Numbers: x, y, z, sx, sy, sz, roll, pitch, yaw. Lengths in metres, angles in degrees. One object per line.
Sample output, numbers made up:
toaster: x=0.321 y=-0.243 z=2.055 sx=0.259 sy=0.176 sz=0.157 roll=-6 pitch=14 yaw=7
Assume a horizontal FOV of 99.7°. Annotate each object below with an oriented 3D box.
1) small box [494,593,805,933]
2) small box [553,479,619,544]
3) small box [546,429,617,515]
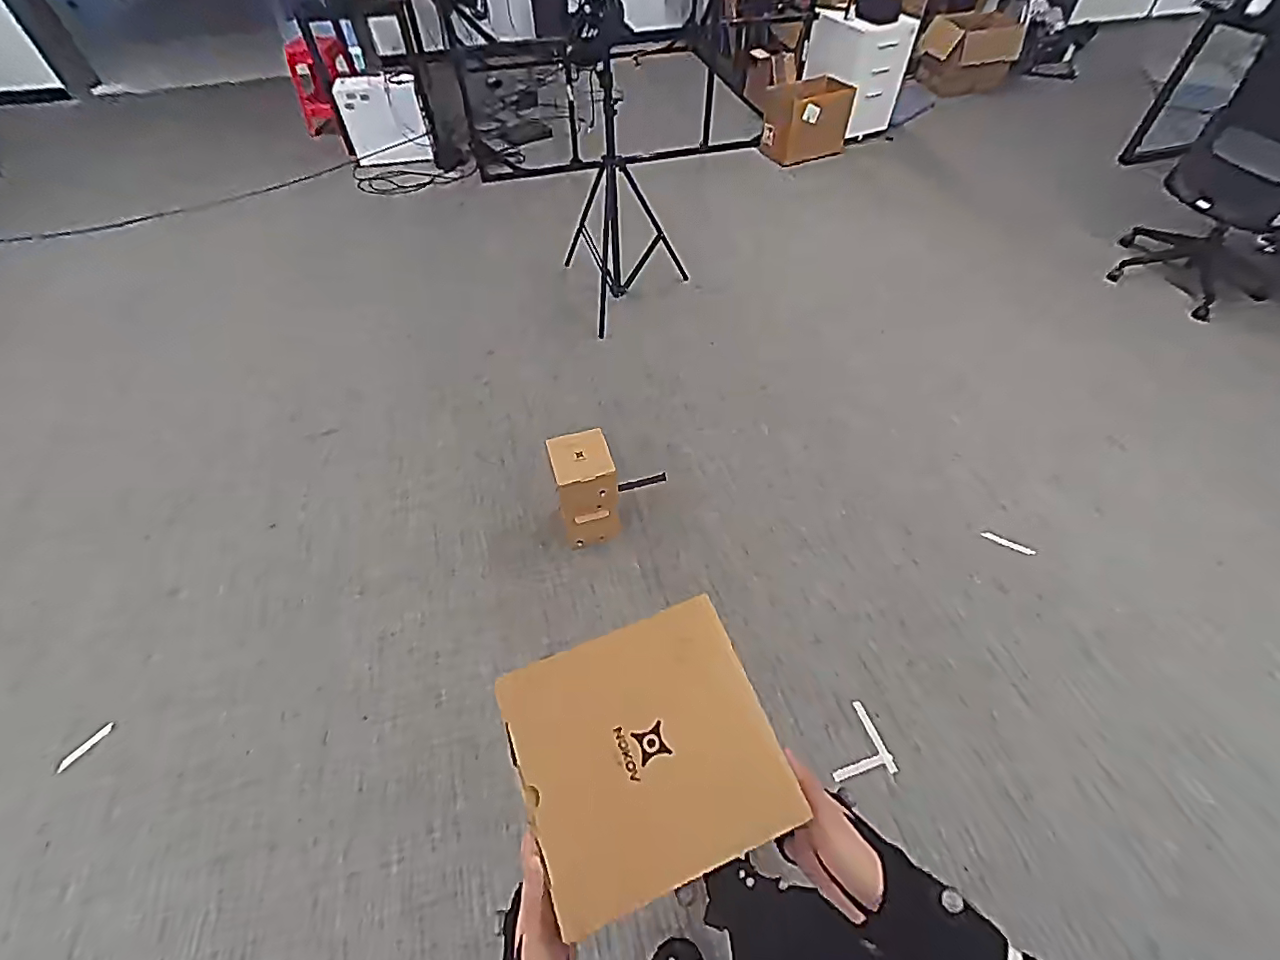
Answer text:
small box: x=0.001 y=0.218 z=0.449 sx=0.179 sy=0.176 sz=0.168 roll=-21 pitch=65 yaw=-10
small box: x=-0.166 y=0.084 z=1.698 sx=0.168 sy=0.176 sz=0.179 roll=-14 pitch=53 yaw=-10
small box: x=-0.166 y=-0.015 z=1.570 sx=0.168 sy=0.176 sz=0.179 roll=-14 pitch=53 yaw=-11
